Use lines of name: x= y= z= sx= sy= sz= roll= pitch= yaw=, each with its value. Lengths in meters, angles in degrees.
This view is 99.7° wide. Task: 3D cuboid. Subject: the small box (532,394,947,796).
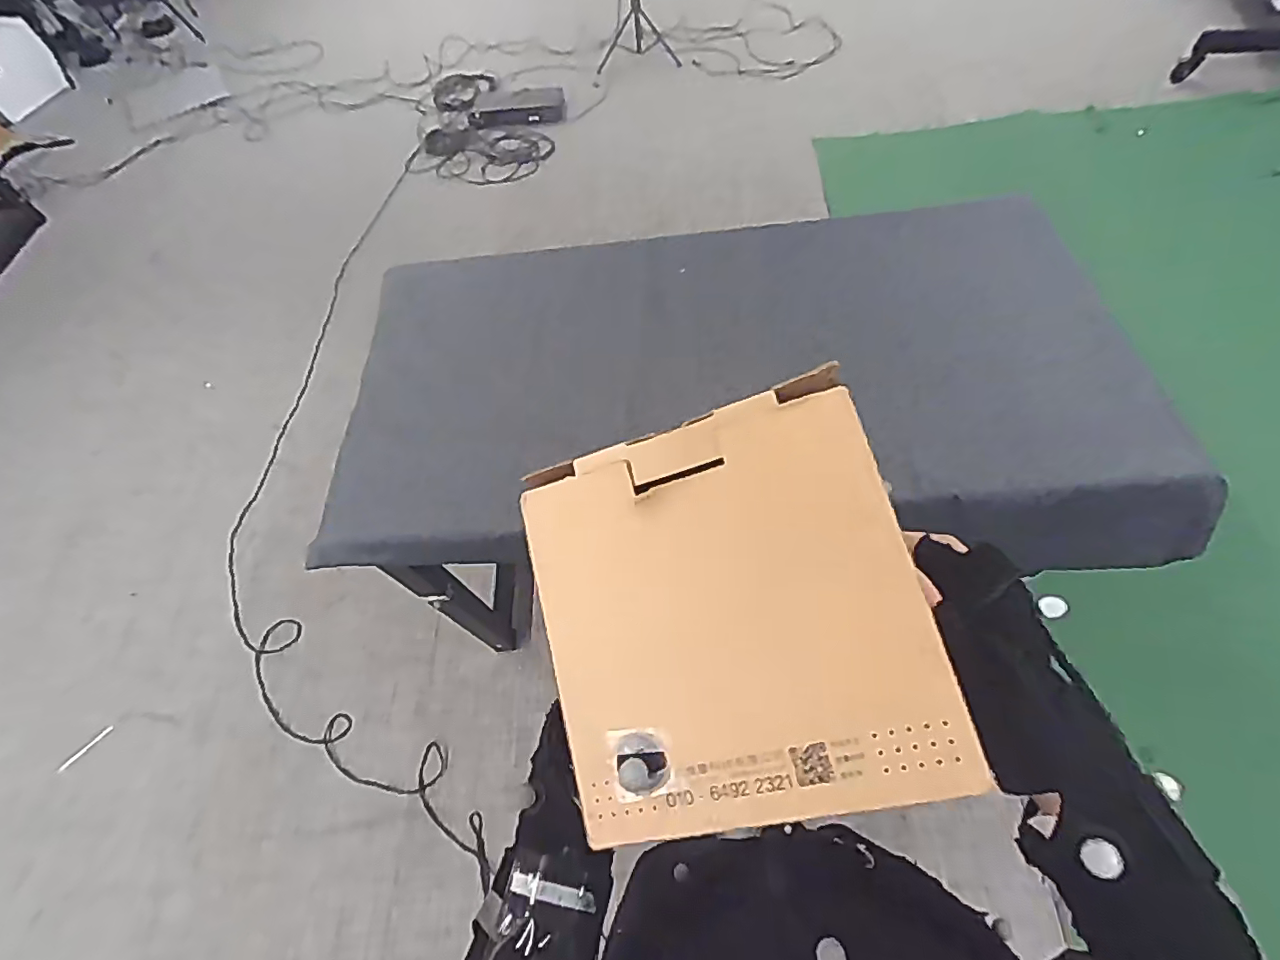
small box: x=0.061 y=0.074 z=0.332 sx=0.168 sy=0.179 sz=0.176 roll=-18 pitch=75 yaw=14
